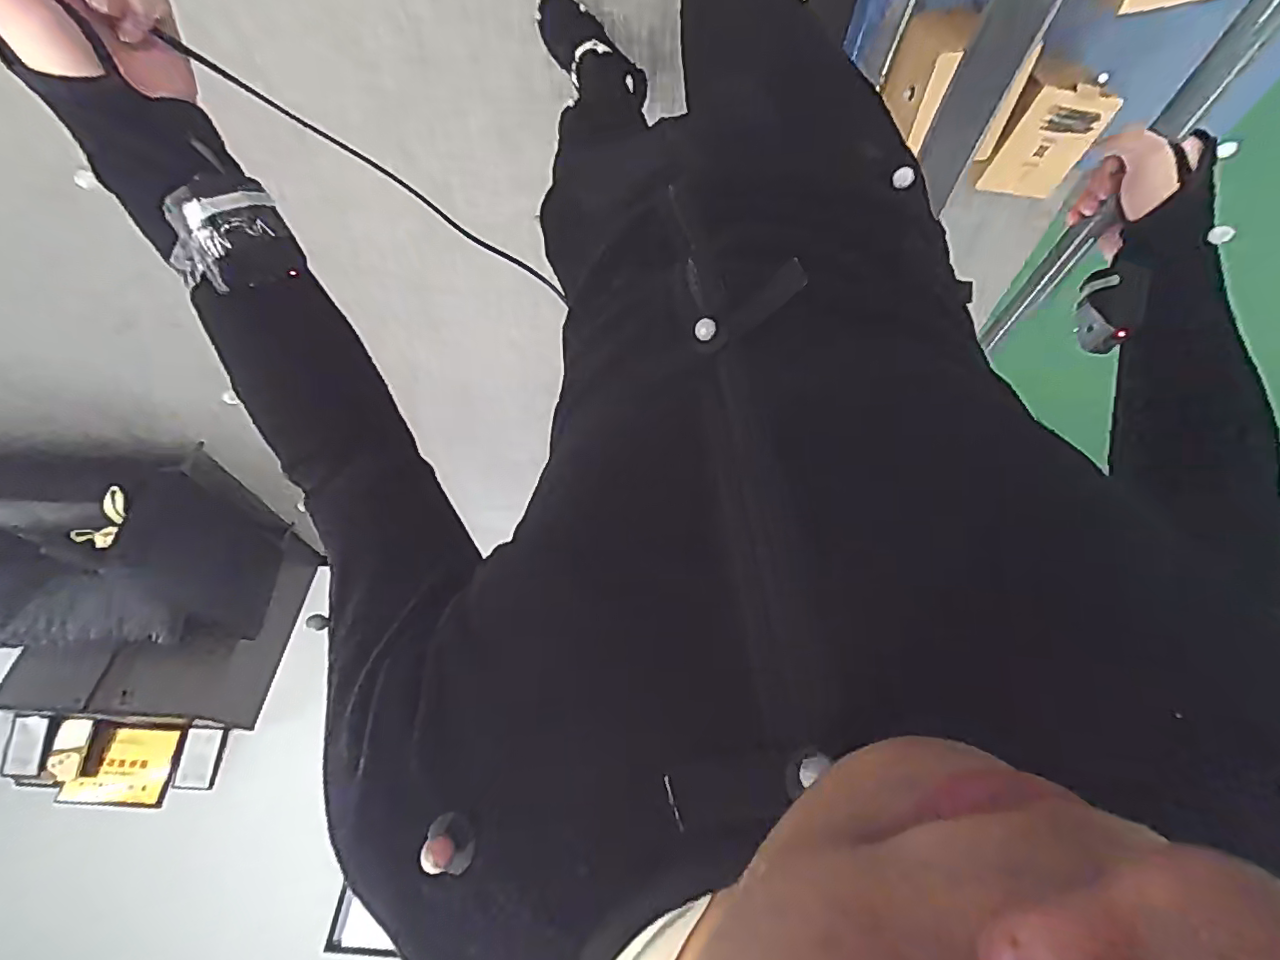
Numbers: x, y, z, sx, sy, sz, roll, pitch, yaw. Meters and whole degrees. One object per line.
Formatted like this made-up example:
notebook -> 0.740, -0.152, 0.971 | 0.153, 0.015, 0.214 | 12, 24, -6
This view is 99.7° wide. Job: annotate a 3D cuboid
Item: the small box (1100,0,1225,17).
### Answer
small box -> 0.776, -0.812, 0.778 | 0.179, 0.176, 0.168 | -8, 148, 3
